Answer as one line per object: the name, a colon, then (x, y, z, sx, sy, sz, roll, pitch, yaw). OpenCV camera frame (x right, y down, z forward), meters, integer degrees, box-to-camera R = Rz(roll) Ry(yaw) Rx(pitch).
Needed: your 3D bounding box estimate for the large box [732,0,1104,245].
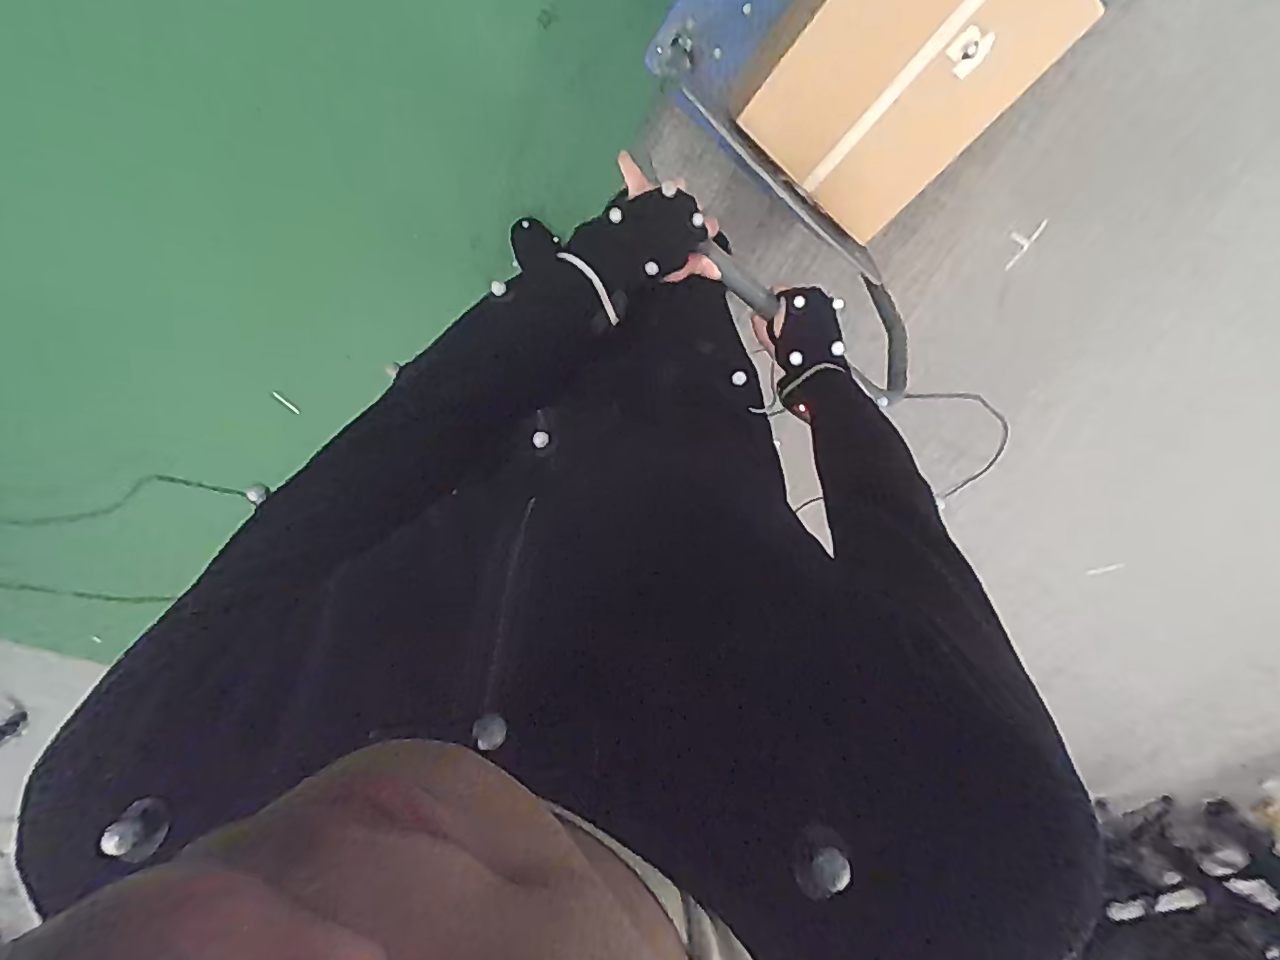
large box: (0.407, -0.695, 0.903, 0.320, 0.320, 0.408, 32, 126, -22)
